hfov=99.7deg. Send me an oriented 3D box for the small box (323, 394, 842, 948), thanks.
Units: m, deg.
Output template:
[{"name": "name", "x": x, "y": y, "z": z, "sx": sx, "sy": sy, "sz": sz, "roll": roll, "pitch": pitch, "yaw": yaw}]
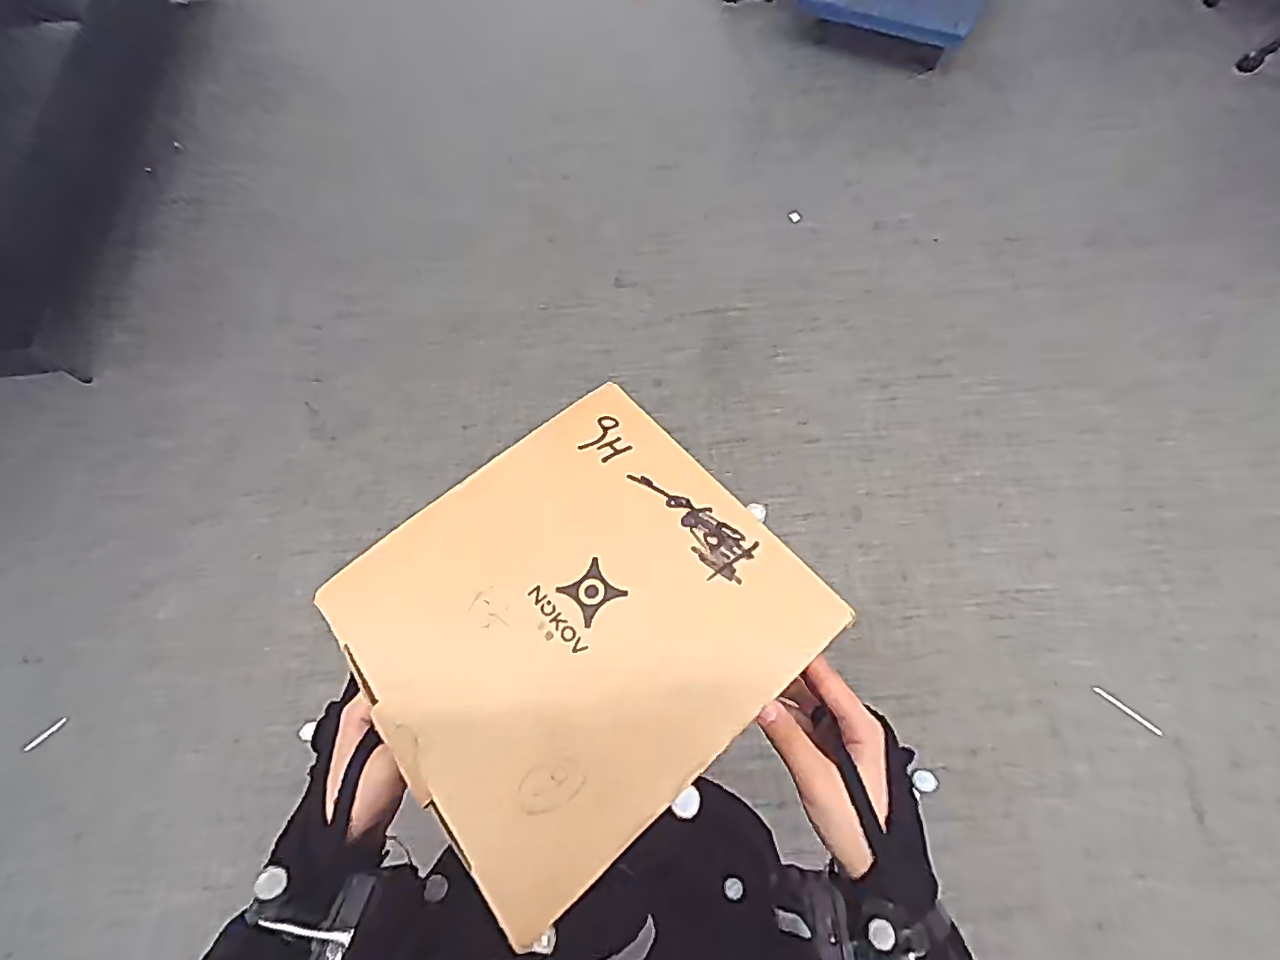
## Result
[{"name": "small box", "x": -0.023, "y": 0.094, "z": 0.306, "sx": 0.179, "sy": 0.176, "sz": 0.168, "roll": -38, "pitch": 67, "yaw": -14}]
